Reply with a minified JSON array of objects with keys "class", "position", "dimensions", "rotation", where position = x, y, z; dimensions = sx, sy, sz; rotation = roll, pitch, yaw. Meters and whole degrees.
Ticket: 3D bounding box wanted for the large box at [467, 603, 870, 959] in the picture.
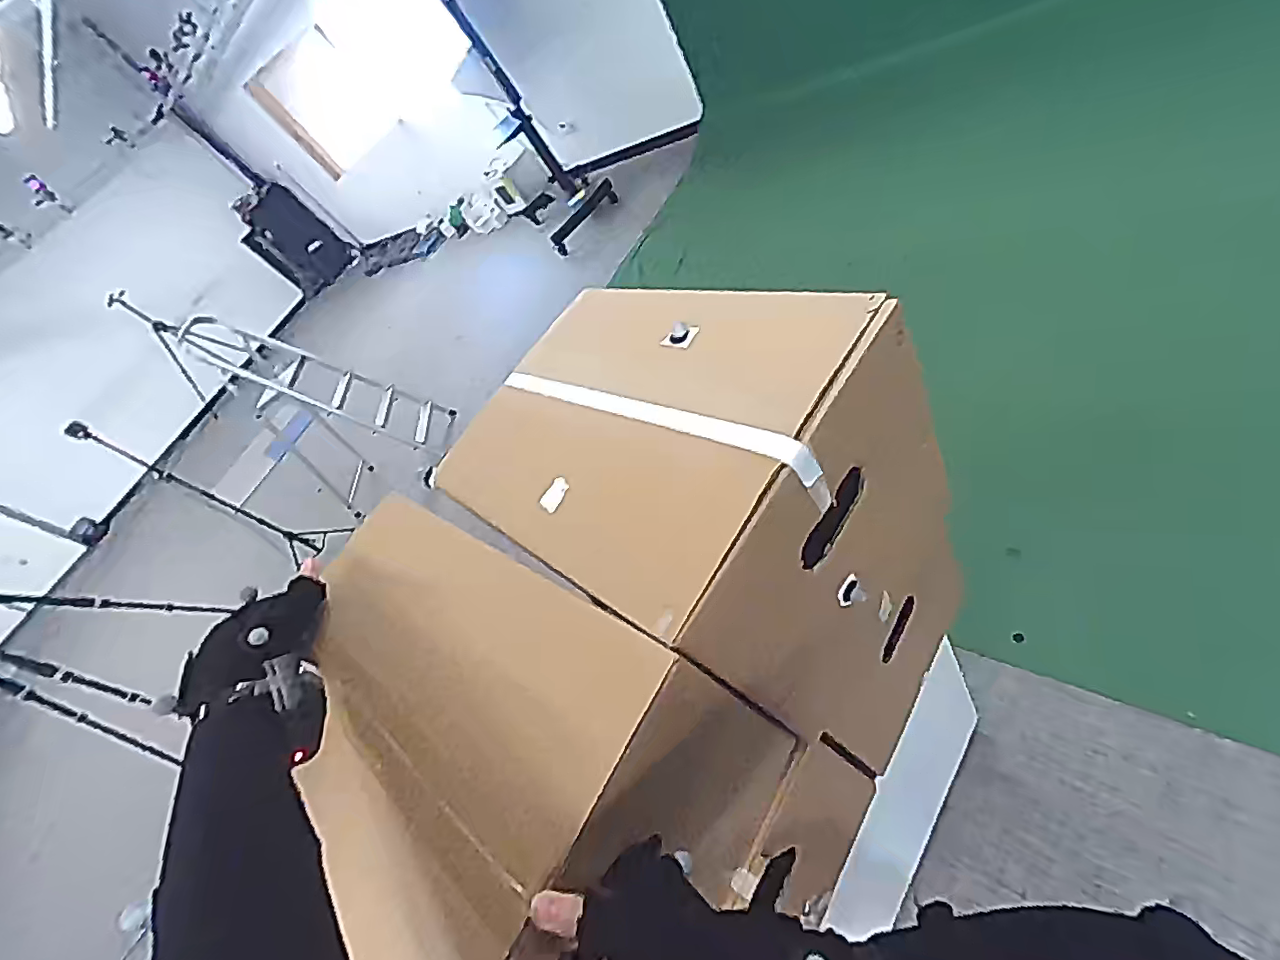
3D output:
[{"class":"large box","position":[0.043,0.430,0.766],"dimensions":[0.408,0.320,0.320],"rotation":[15,65,46]}]
